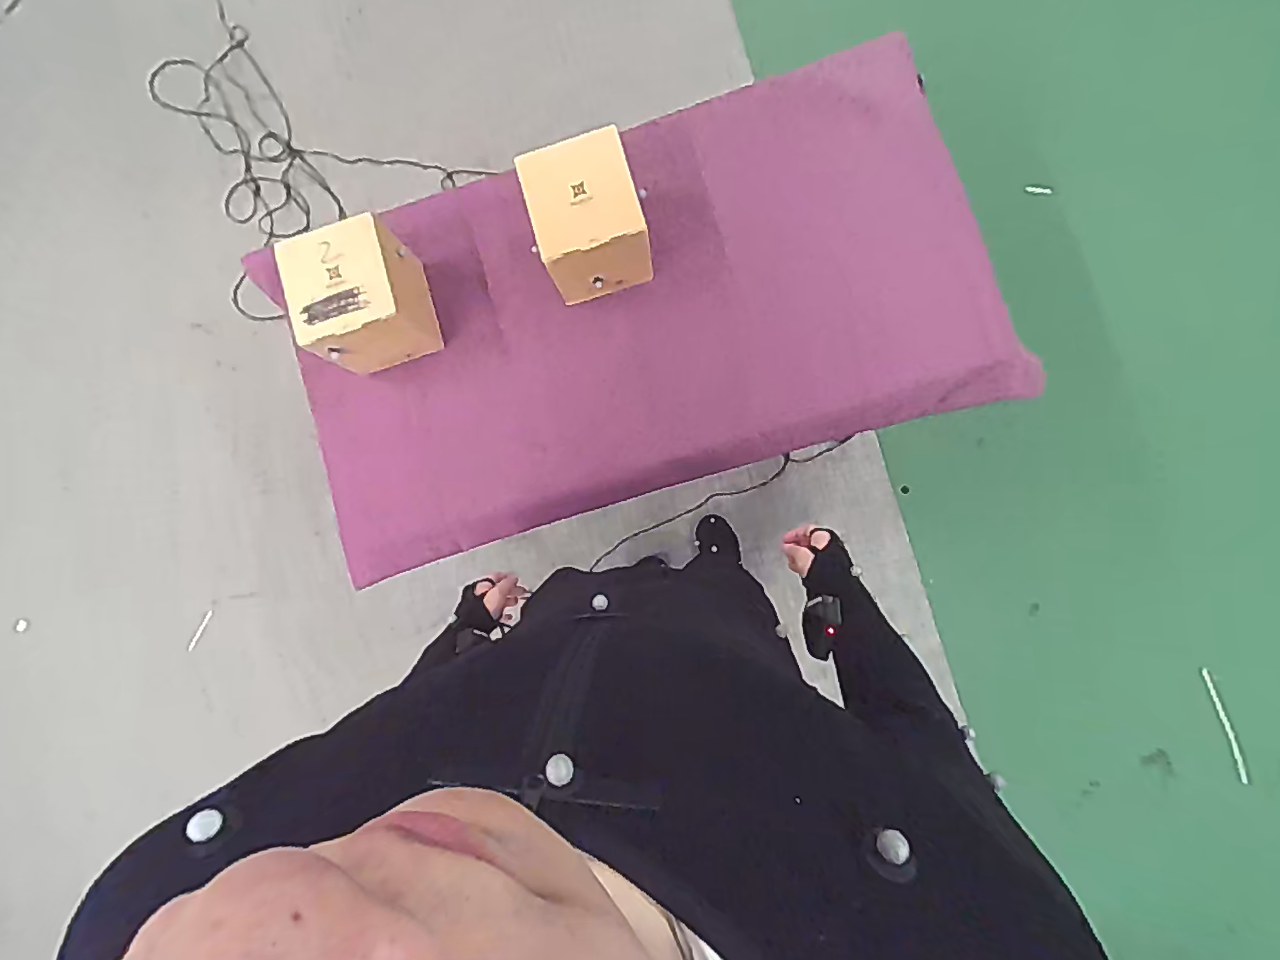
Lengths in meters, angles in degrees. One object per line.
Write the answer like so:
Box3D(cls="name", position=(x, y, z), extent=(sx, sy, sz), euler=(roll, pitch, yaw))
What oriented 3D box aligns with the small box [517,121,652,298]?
Box3D(cls="small box", position=(-0.083, -0.431, 0.887), extent=(0.168, 0.176, 0.179), euler=(-17, 86, 2))
